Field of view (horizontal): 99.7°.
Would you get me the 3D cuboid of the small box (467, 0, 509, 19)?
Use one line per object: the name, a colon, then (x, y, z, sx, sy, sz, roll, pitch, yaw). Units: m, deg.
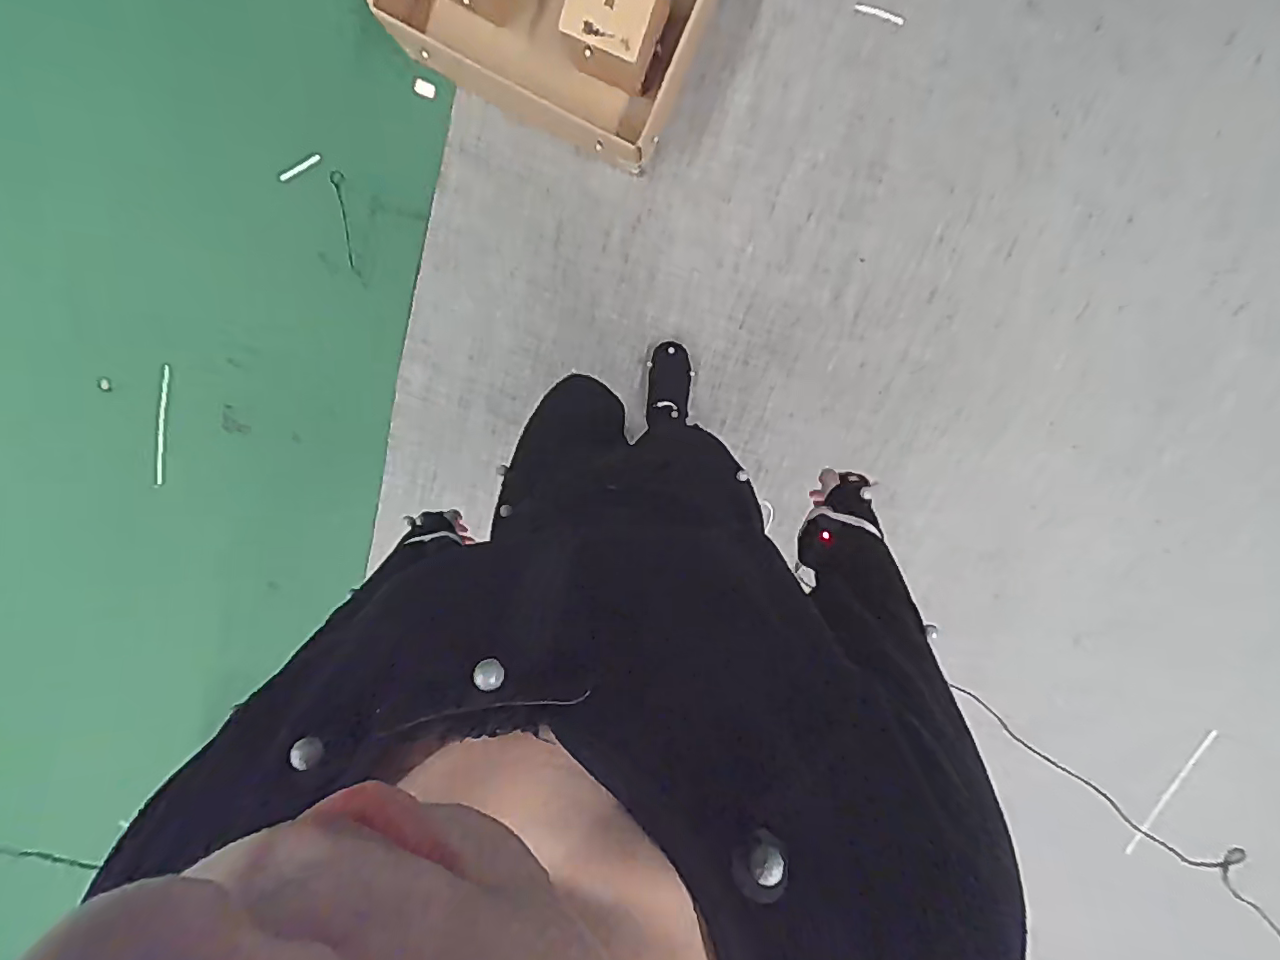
small box: (-0.340, -1.084, 1.076, 0.168, 0.176, 0.179, 27, 106, -5)
